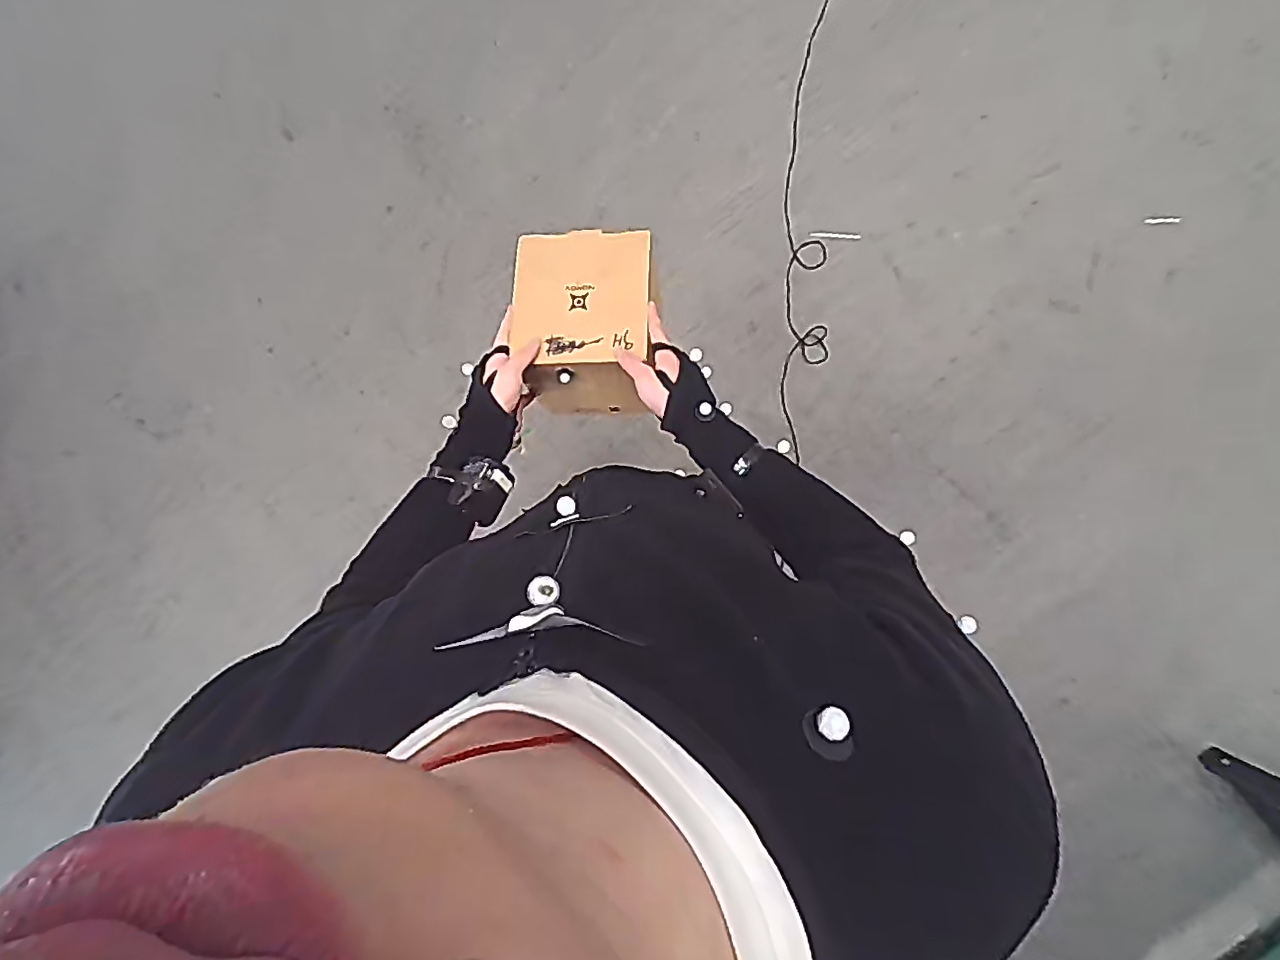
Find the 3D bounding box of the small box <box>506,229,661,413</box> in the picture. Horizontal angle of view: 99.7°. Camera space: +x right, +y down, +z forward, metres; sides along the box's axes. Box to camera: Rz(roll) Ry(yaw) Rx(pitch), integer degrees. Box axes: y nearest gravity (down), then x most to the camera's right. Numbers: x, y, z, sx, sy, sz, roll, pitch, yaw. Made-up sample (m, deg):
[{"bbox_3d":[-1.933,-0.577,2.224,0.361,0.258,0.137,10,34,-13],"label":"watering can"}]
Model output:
[{"bbox_3d":[-0.062,-0.201,0.717,0.168,0.176,0.179,1,77,8],"label":"small box"}]
